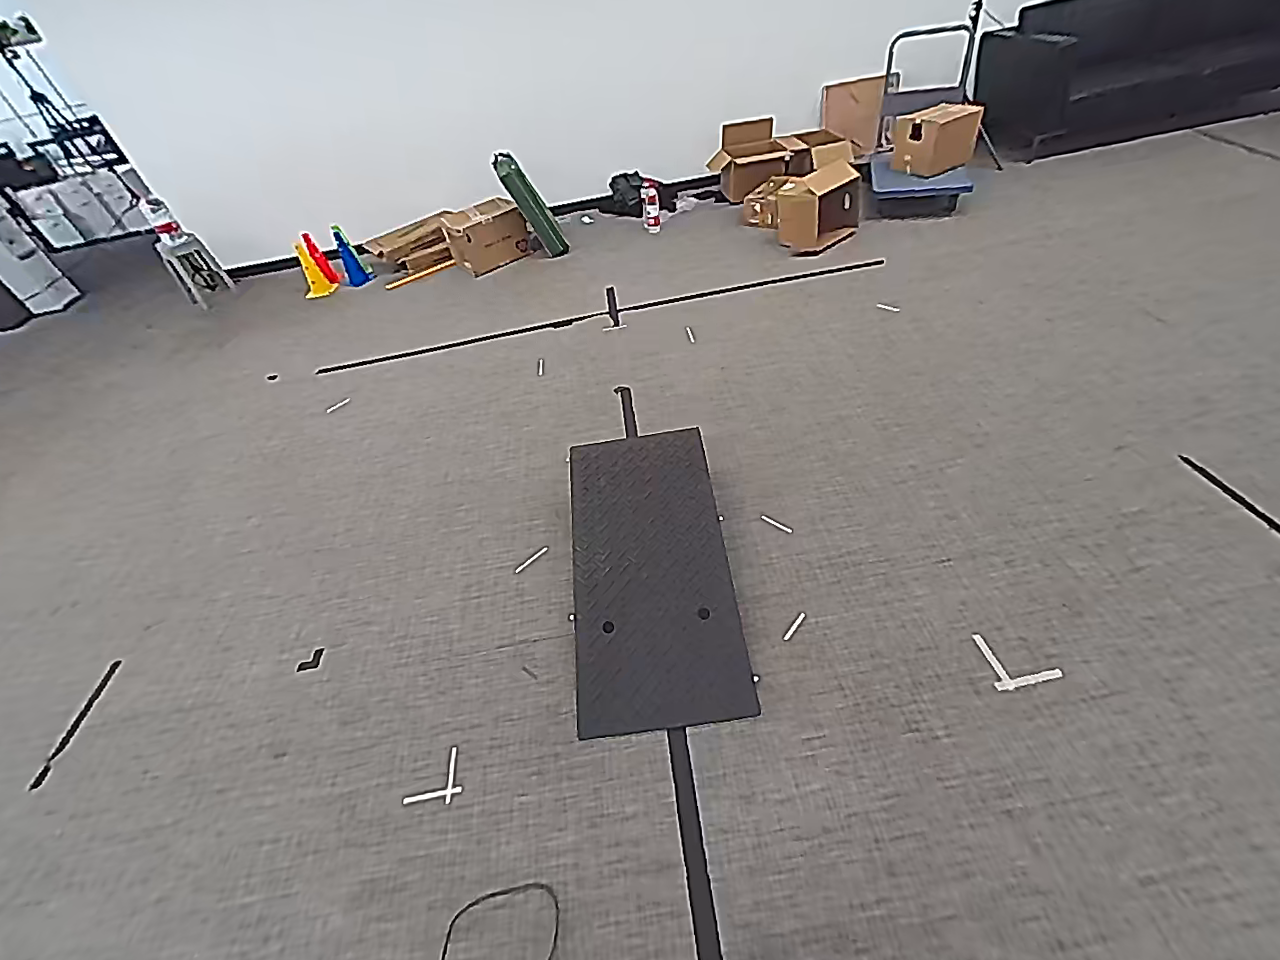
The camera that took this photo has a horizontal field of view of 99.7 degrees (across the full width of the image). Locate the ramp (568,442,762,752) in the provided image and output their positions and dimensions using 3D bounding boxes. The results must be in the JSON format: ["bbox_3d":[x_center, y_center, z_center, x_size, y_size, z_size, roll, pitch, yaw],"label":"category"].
[{"bbox_3d":[0.031,0.294,1.730,0.509,0.206,0.991,-10,43,0],"label":"ramp"}]
